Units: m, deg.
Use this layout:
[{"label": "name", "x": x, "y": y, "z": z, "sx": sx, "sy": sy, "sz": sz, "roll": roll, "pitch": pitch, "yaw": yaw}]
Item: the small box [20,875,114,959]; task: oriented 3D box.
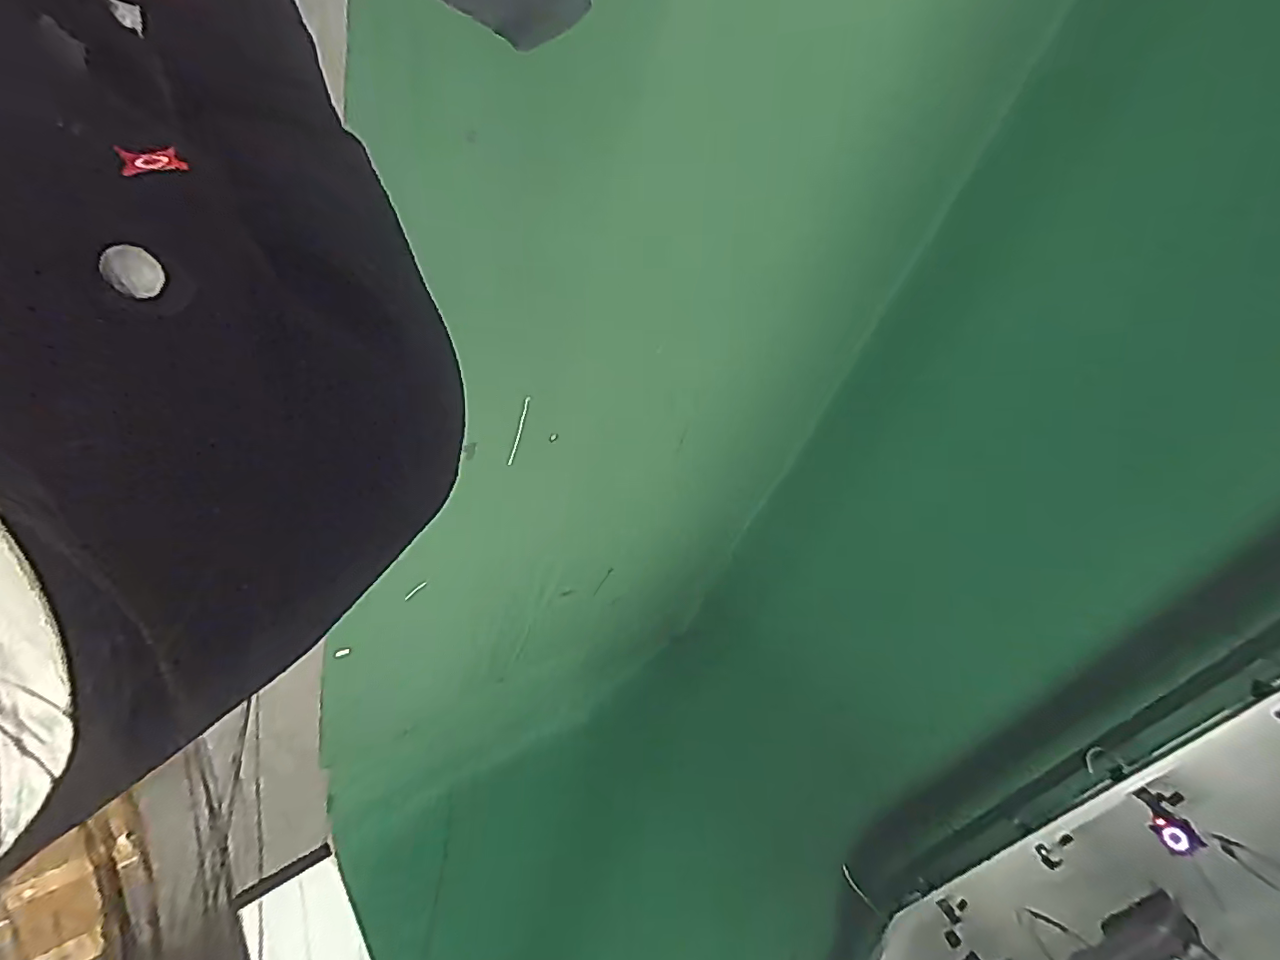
[{"label": "small box", "x": -1.660, "y": 1.308, "z": 1.566, "sx": 0.179, "sy": 0.176, "sz": 0.168, "roll": -8, "pitch": 129, "yaw": -48}]
